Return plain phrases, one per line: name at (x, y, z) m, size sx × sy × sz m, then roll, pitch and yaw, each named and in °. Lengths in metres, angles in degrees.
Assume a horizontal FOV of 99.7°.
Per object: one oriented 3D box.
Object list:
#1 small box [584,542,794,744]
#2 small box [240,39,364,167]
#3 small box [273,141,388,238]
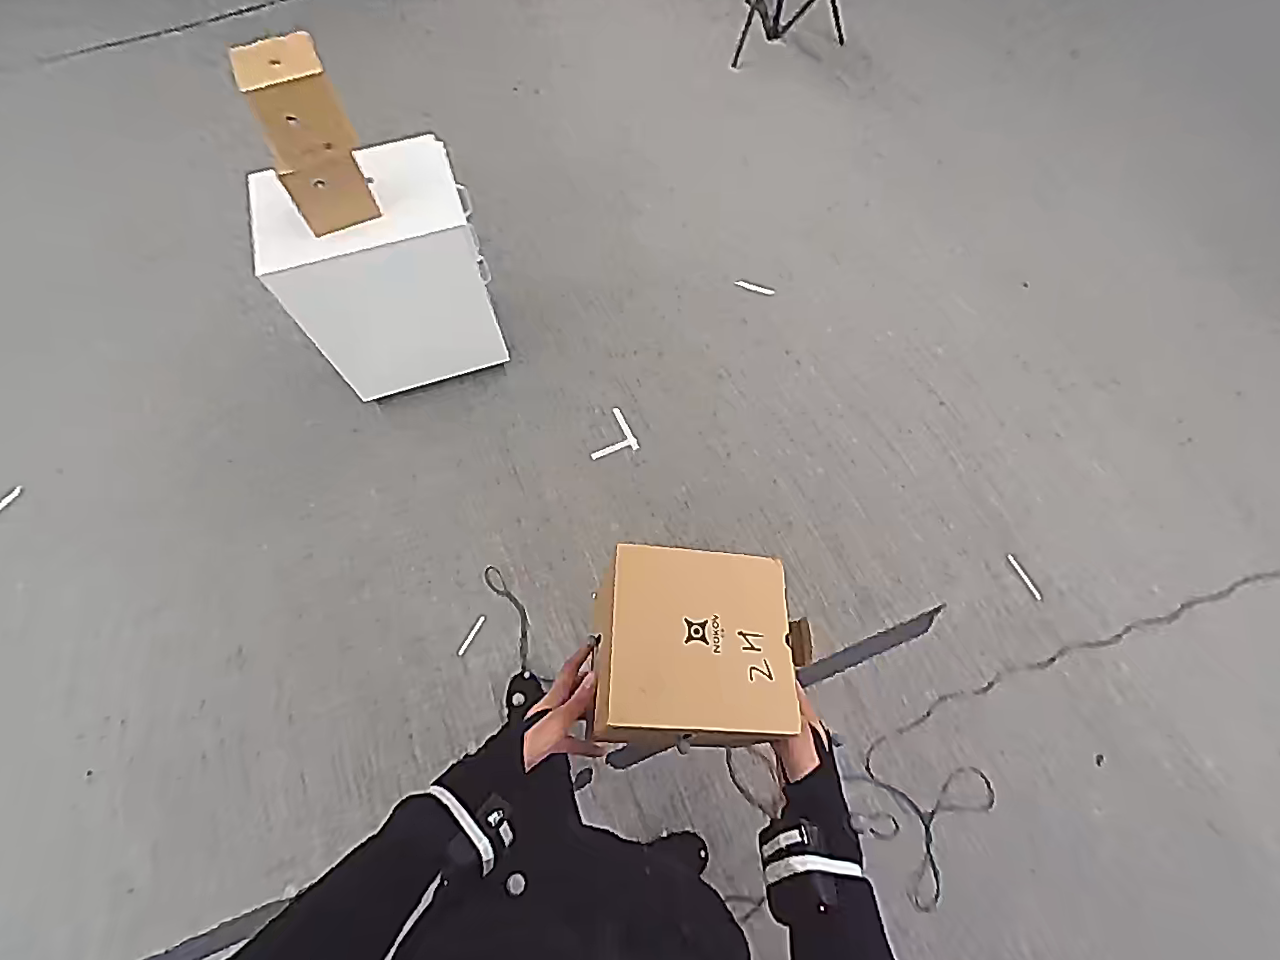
small box at (0.039, 0.180, 0.571) m, size 0.179 × 0.176 × 0.168 m, roll 7°, pitch 59°, yaw -9°
small box at (-0.750, -0.834, 1.213) m, size 0.168 × 0.176 × 0.179 m, roll -24°, pitch 66°, yaw -11°
small box at (-0.766, -0.740, 1.348) m, size 0.179 × 0.176 × 0.168 m, roll -24°, pitch 67°, yaw -12°
